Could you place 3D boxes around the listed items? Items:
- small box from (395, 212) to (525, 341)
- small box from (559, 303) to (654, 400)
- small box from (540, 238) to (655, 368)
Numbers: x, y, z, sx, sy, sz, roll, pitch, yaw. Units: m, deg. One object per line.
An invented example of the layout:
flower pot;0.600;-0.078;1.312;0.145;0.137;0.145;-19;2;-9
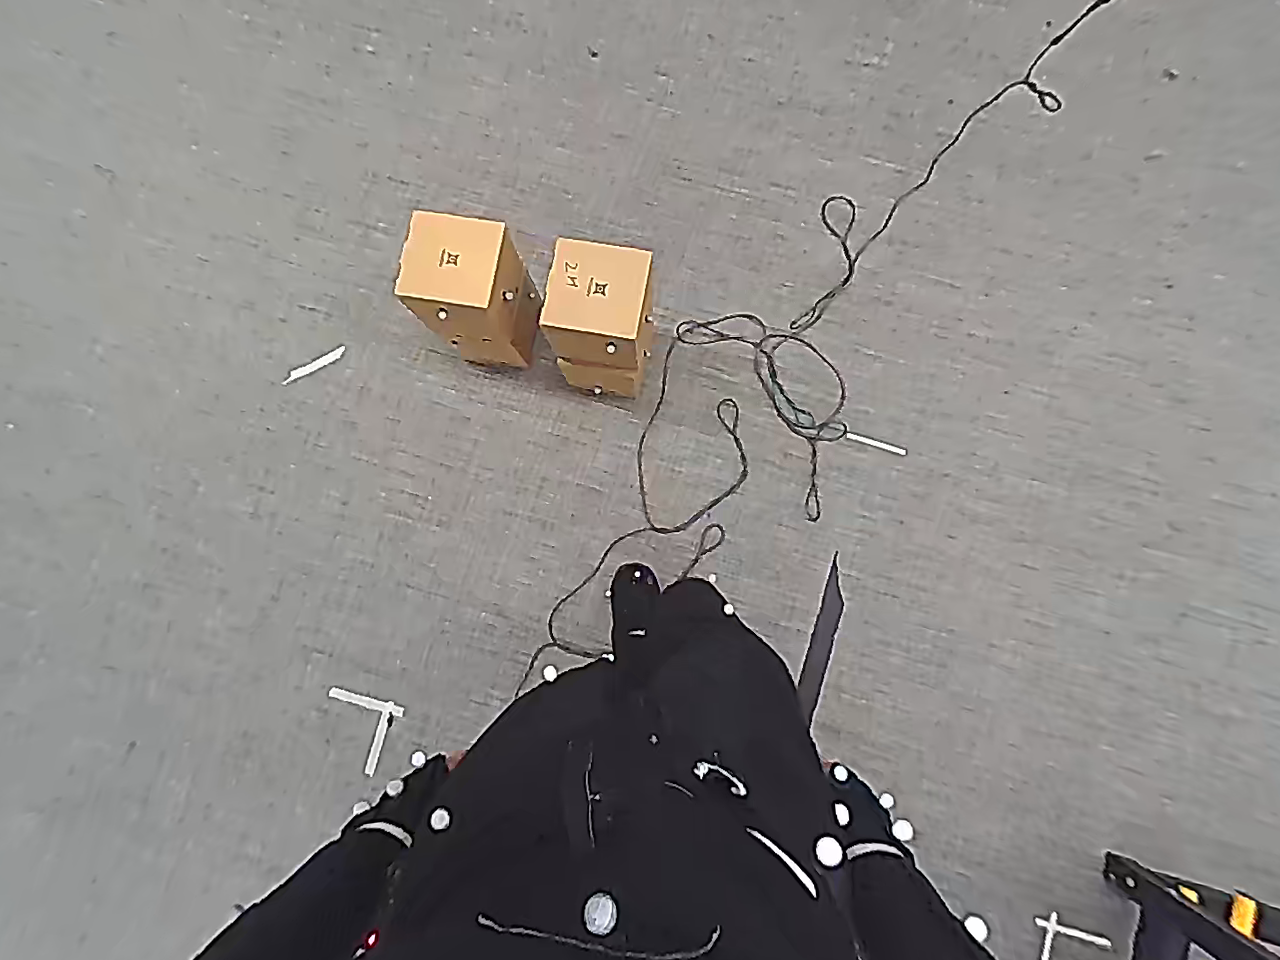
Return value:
small box;-0.333;-0.380;1.039;0.179;0.176;0.168;9;83;3
small box;-0.067;-0.292;1.183;0.168;0.176;0.179;12;84;4
small box;-0.071;-0.323;1.020;0.179;0.176;0.168;10;83;4
